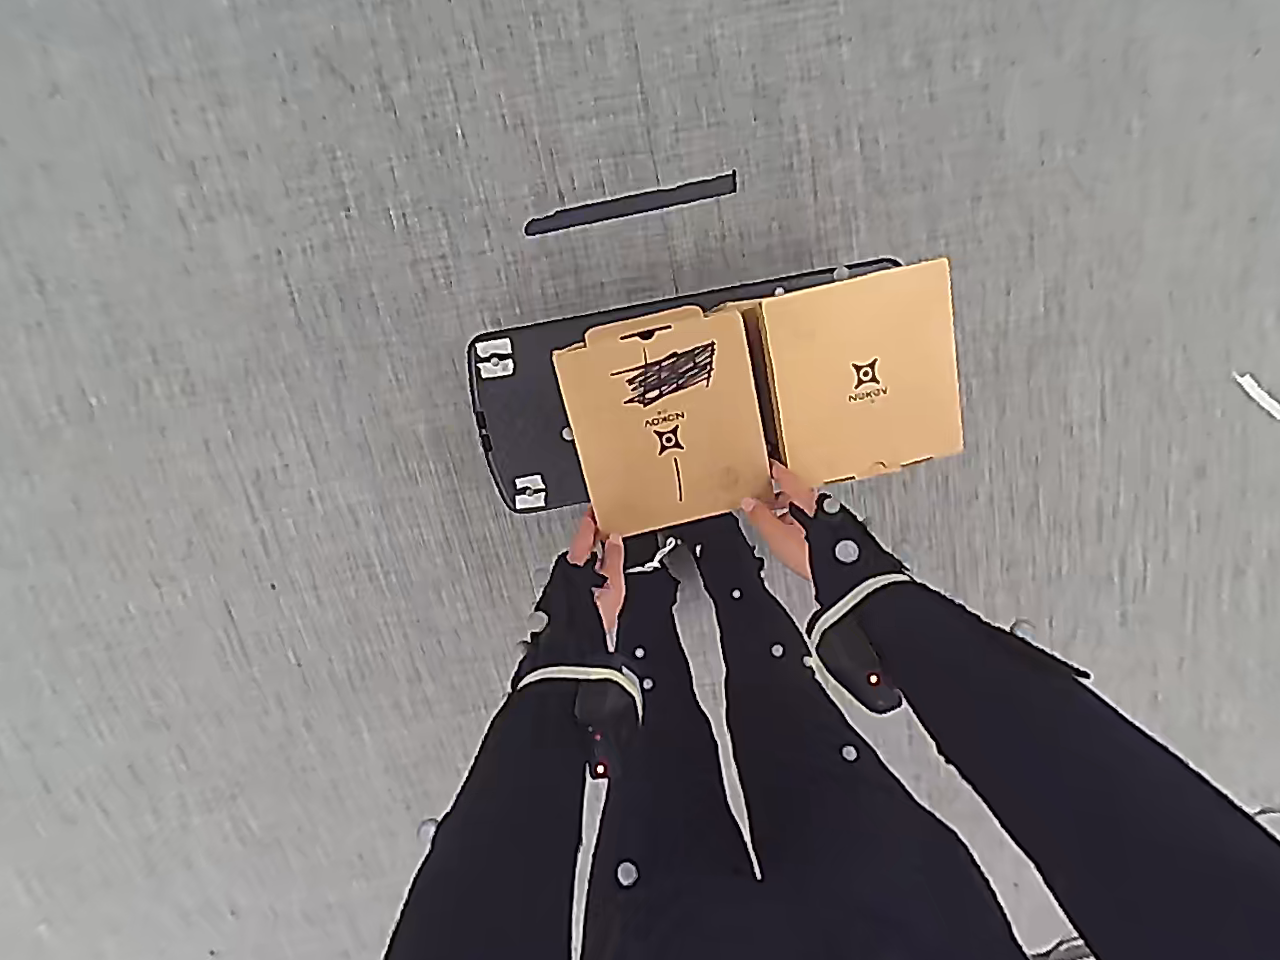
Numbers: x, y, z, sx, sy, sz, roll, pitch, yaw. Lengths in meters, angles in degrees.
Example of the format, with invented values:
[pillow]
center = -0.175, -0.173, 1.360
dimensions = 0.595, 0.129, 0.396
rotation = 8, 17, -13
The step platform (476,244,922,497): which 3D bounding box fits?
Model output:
[step platform]
center = 0.091, -0.173, 0.884
dimensions = 0.684, 0.204, 0.286
rotation = -11, 102, 0
